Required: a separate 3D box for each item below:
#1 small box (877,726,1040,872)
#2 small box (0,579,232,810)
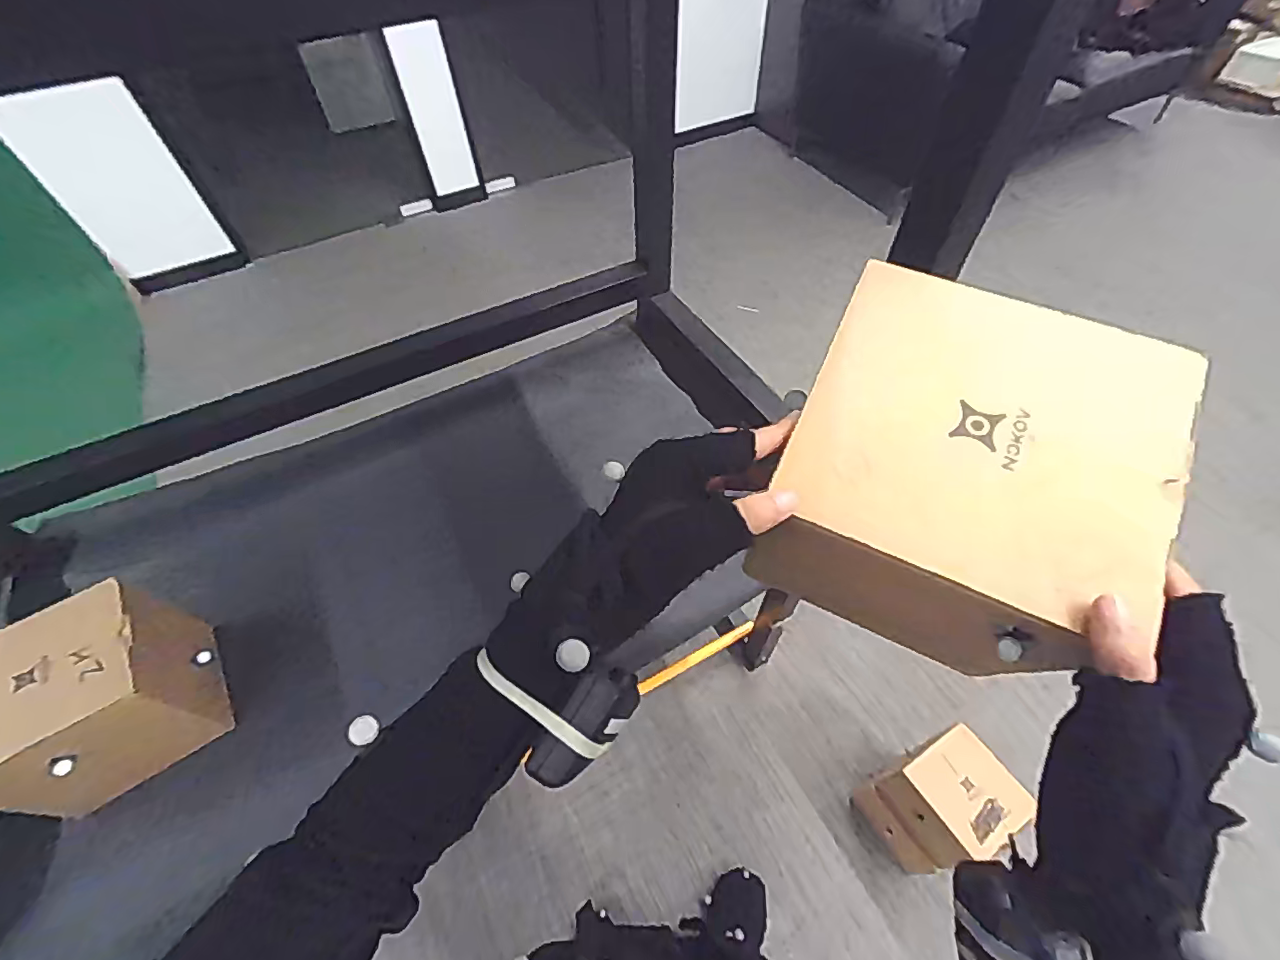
[{"bbox_3d":[0.593,0.607,1.031,0.168,0.176,0.179,-27,56,-16],"label":"small box"},{"bbox_3d":[-0.635,0.256,0.636,0.179,0.176,0.168,-30,59,-19],"label":"small box"}]
